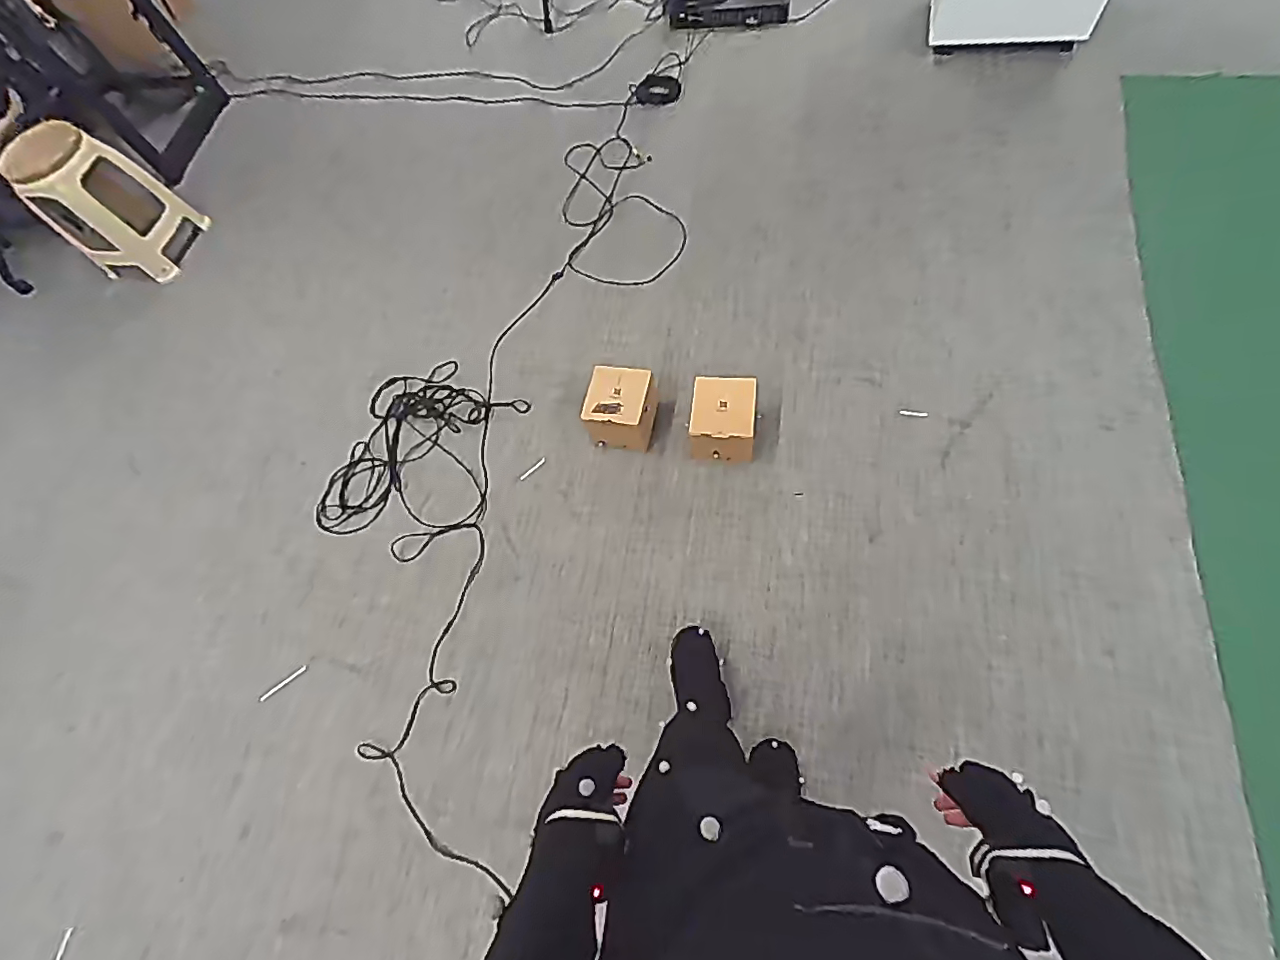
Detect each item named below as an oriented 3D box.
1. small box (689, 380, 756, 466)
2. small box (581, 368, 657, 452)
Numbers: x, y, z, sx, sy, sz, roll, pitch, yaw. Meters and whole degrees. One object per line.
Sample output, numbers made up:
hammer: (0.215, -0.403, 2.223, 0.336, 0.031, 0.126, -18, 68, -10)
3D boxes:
small box: (0.229, -0.157, 1.496, 0.168, 0.176, 0.179, 4, 69, 11)
small box: (-0.052, -0.196, 1.558, 0.168, 0.176, 0.179, 9, 69, 13)
